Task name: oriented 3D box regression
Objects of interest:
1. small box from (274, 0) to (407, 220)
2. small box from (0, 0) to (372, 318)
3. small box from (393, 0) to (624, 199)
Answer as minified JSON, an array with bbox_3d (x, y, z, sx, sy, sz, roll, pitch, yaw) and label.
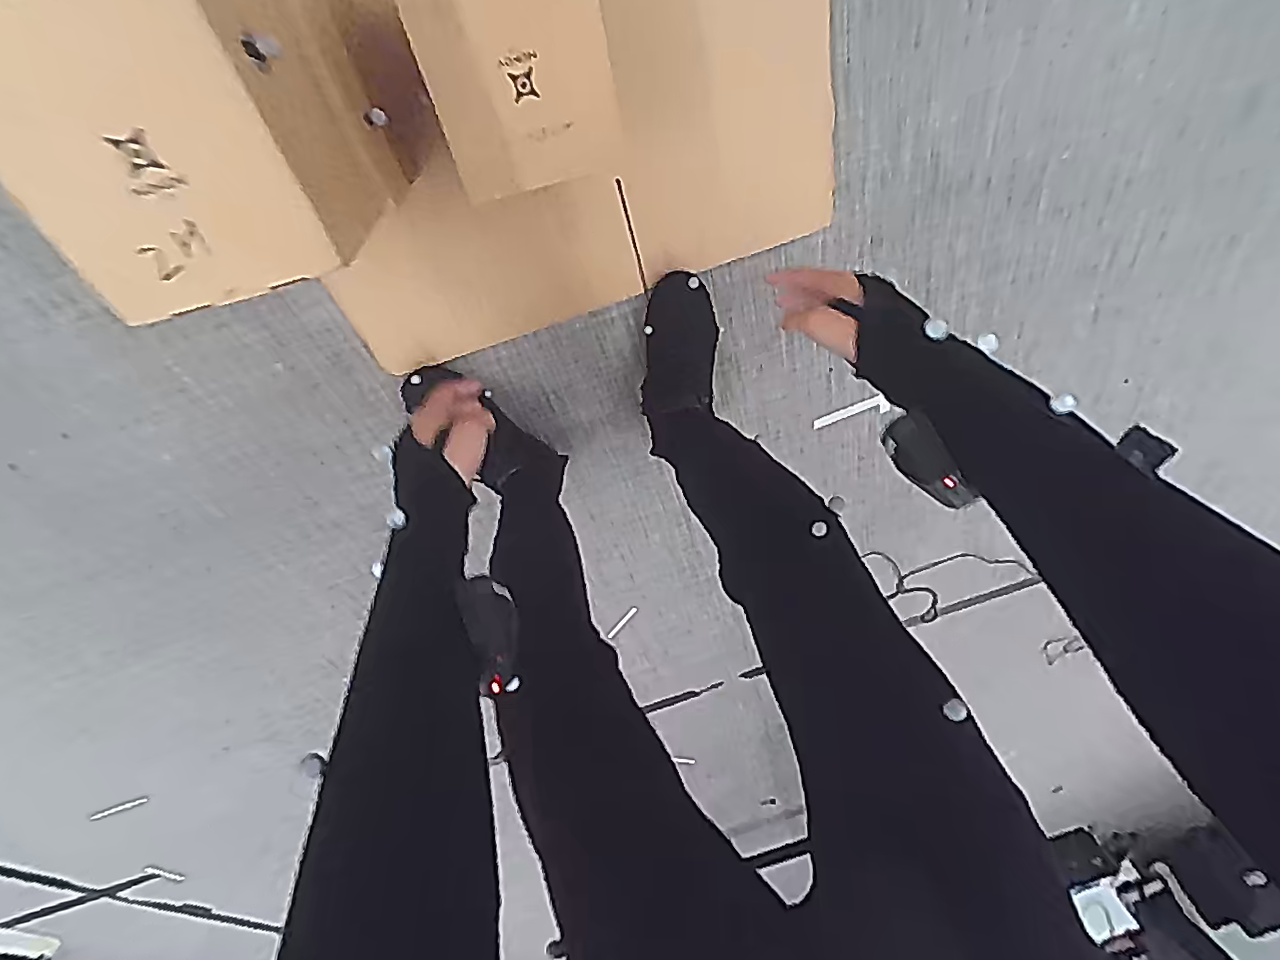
[{"bbox_3d":[-0.350,-0.351,0.526,0.168,0.176,0.179,-17,131,0],"label":"small box"},{"bbox_3d":[-0.328,-0.250,0.396,0.168,0.176,0.179,-16,131,-1],"label":"small box"},{"bbox_3d":[-0.127,-0.409,0.538,0.168,0.176,0.179,-17,131,-2],"label":"small box"}]
